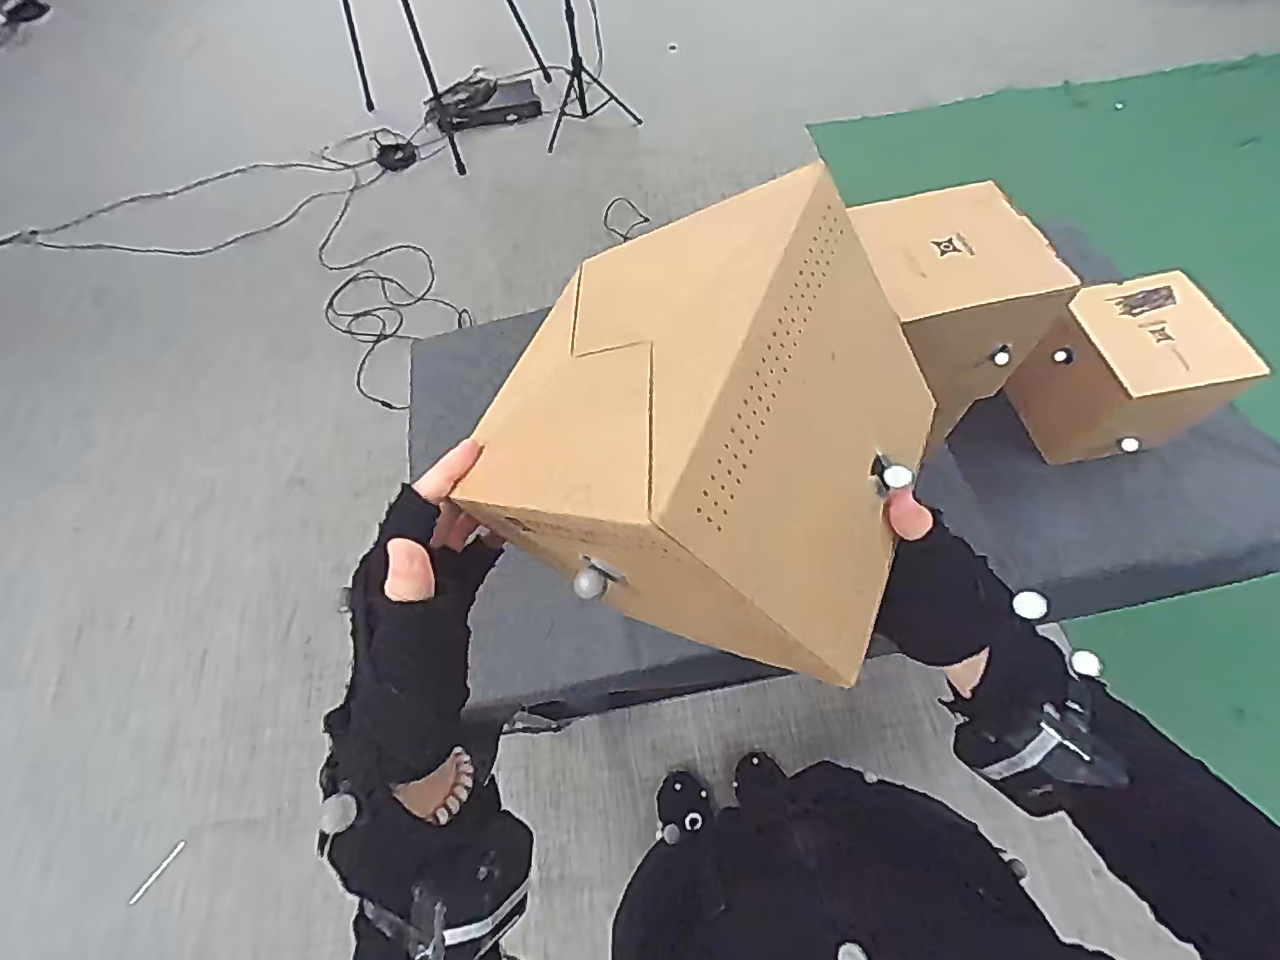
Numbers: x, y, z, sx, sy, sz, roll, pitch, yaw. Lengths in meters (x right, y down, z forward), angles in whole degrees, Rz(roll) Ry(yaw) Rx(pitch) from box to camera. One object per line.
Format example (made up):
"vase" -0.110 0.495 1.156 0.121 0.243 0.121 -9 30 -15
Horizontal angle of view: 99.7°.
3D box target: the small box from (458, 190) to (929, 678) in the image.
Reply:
"small box" 0.036 -0.019 0.303 0.168 0.176 0.179 3 60 47
